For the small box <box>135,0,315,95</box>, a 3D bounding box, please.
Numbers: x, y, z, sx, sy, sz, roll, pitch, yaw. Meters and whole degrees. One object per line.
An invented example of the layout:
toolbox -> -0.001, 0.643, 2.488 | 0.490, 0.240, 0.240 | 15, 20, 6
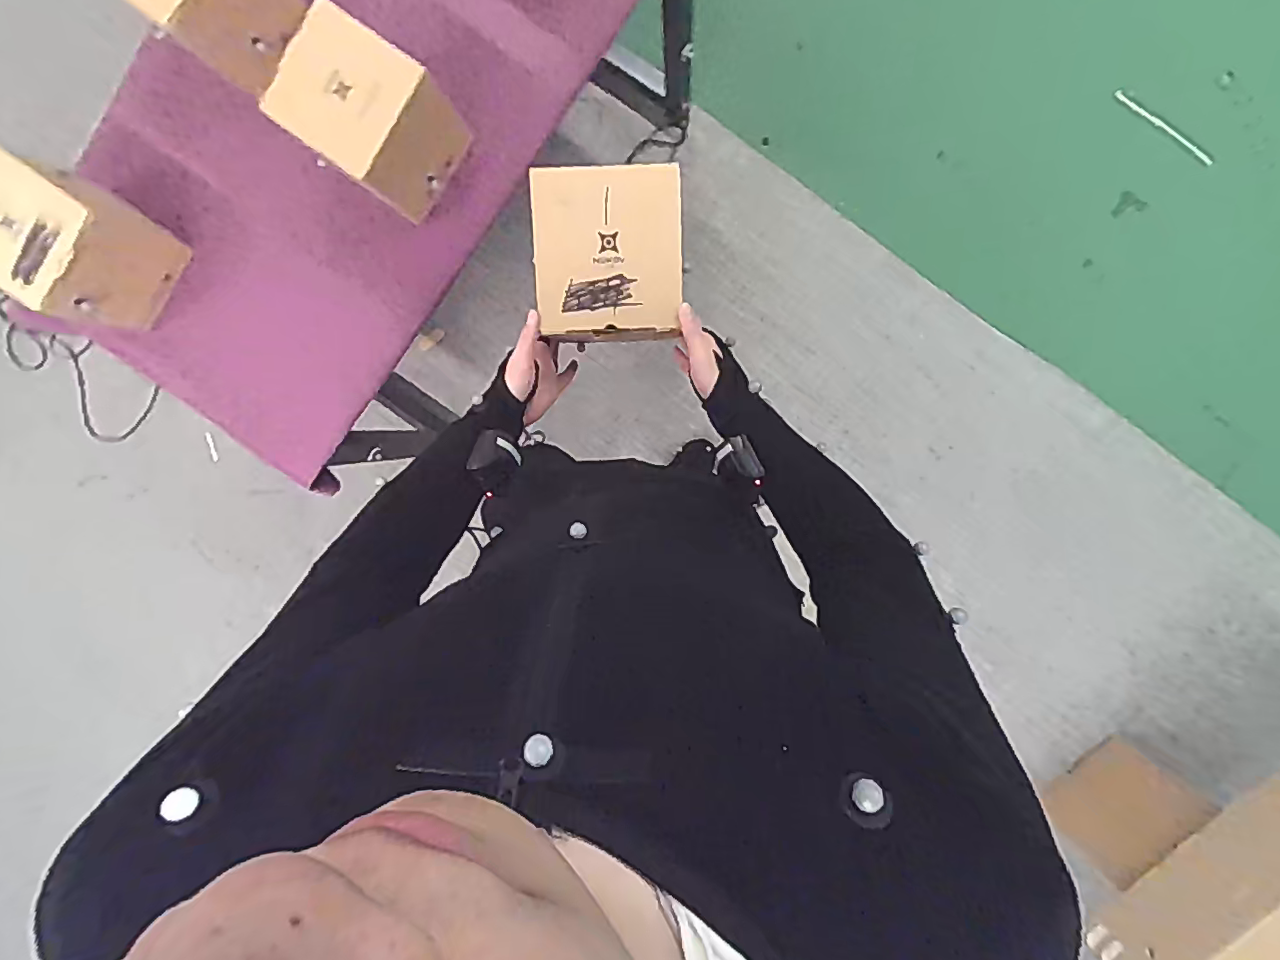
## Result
small box -> -0.640, -0.730, 0.803 | 0.179, 0.176, 0.168 | 38, 97, -1

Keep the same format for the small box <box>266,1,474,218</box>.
small box -> -0.385, -0.526, 0.799 | 0.179, 0.176, 0.168 | 36, 99, 2

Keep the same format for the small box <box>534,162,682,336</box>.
small box -> -0.031, -0.275, 0.683 | 0.168, 0.176, 0.179 | -1, 101, 2
